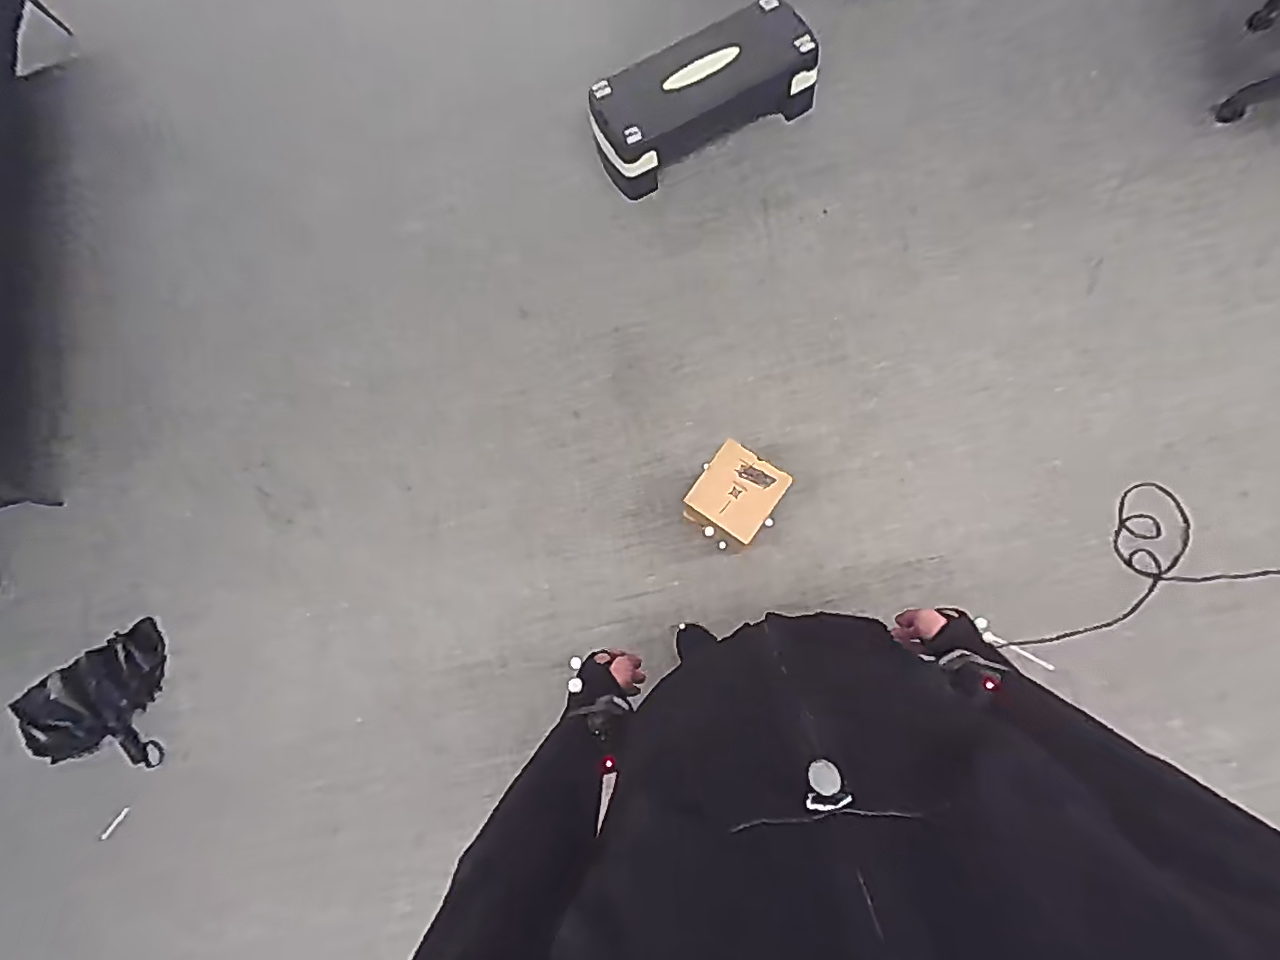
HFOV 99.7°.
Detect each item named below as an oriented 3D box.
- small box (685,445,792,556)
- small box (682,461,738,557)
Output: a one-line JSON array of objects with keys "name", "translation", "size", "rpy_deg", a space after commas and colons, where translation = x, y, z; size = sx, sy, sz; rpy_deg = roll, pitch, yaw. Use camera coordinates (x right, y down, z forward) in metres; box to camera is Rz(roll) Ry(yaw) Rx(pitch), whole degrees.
[{"name": "small box", "translation": [0.217, 0.053, 1.229], "size": [0.168, 0.176, 0.179], "rpy_deg": [35, 84, 14]}, {"name": "small box", "translation": [0.222, 0.082, 1.391], "size": [0.168, 0.176, 0.179], "rpy_deg": [27, 80, 12]}]
